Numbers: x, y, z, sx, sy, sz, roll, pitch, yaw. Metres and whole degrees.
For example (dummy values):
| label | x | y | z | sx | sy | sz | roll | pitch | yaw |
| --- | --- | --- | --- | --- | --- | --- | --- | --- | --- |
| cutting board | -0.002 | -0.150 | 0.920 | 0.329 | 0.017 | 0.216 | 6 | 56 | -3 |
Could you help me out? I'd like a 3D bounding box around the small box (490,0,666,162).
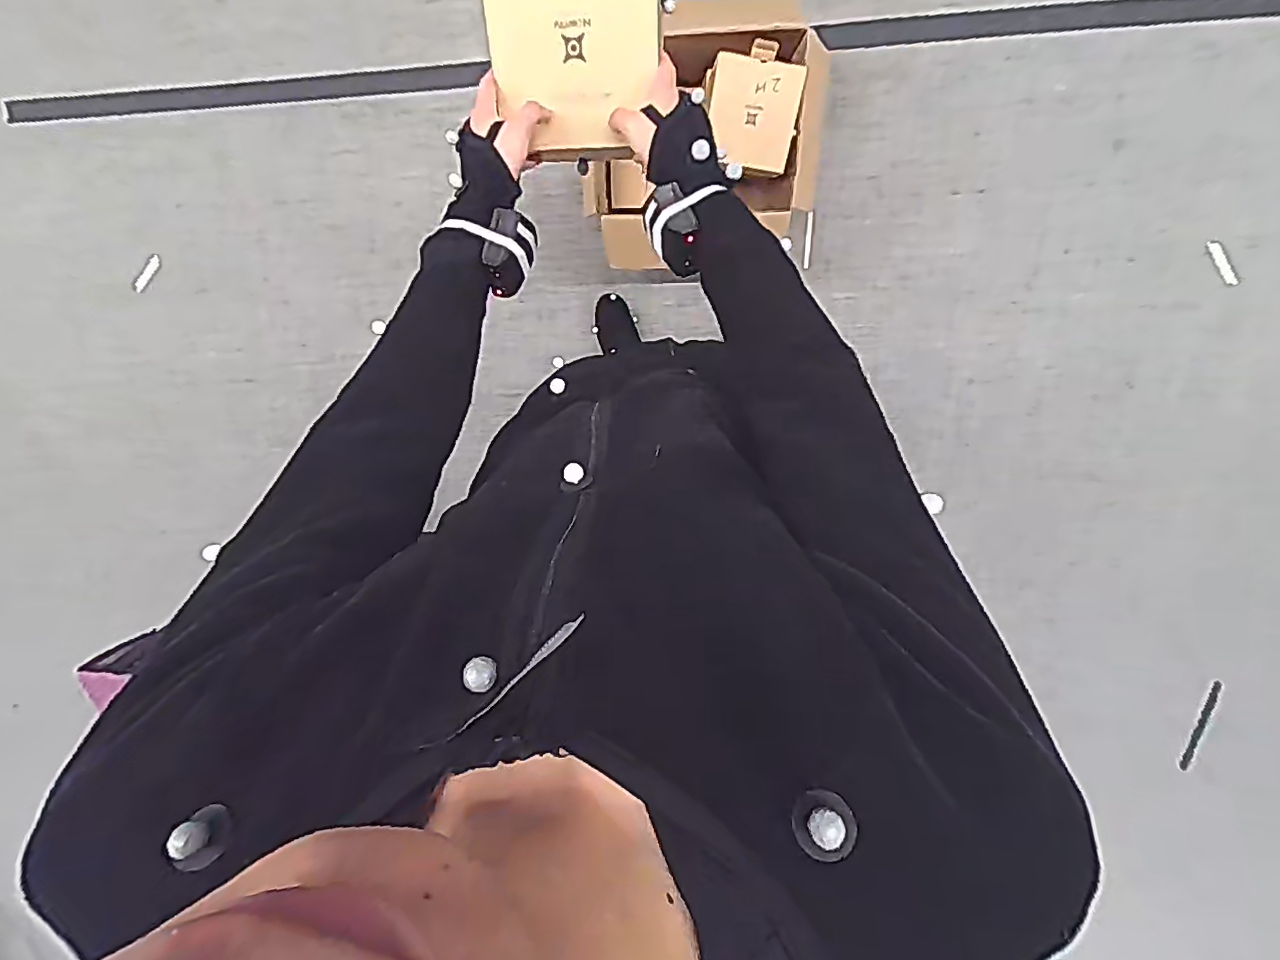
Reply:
| label | x | y | z | sx | sy | sz | roll | pitch | yaw |
| --- | --- | --- | --- | --- | --- | --- | --- | --- | --- |
| small box | -0.057 | -0.461 | 0.594 | 0.168 | 0.176 | 0.179 | 0 | 116 | 4 |
